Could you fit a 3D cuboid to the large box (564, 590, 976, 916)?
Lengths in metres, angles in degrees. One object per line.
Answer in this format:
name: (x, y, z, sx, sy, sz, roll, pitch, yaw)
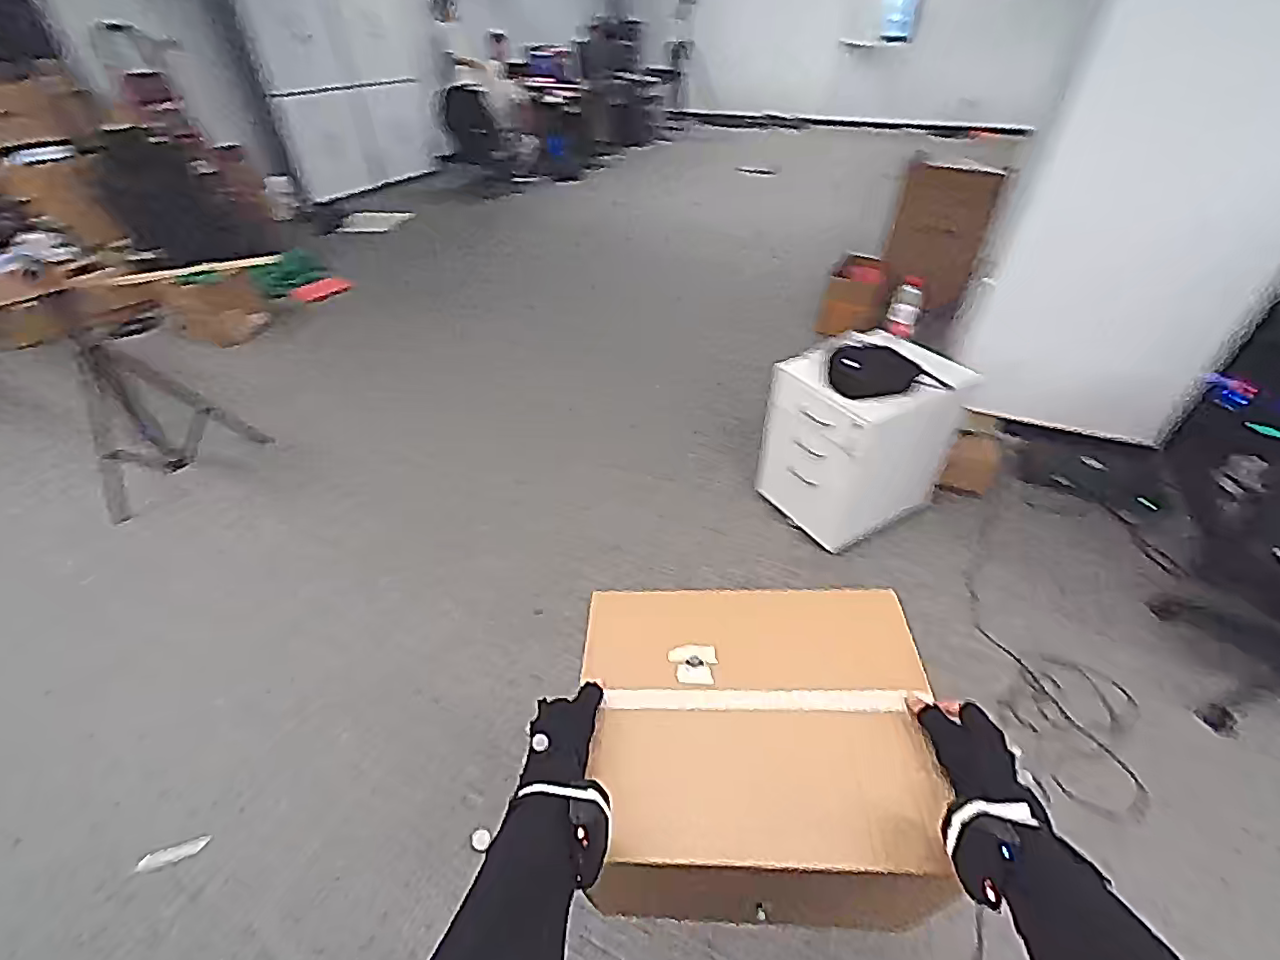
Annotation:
large box: (0.139, 0.372, 0.730, 0.408, 0.320, 0.320, -3, 42, 5)
